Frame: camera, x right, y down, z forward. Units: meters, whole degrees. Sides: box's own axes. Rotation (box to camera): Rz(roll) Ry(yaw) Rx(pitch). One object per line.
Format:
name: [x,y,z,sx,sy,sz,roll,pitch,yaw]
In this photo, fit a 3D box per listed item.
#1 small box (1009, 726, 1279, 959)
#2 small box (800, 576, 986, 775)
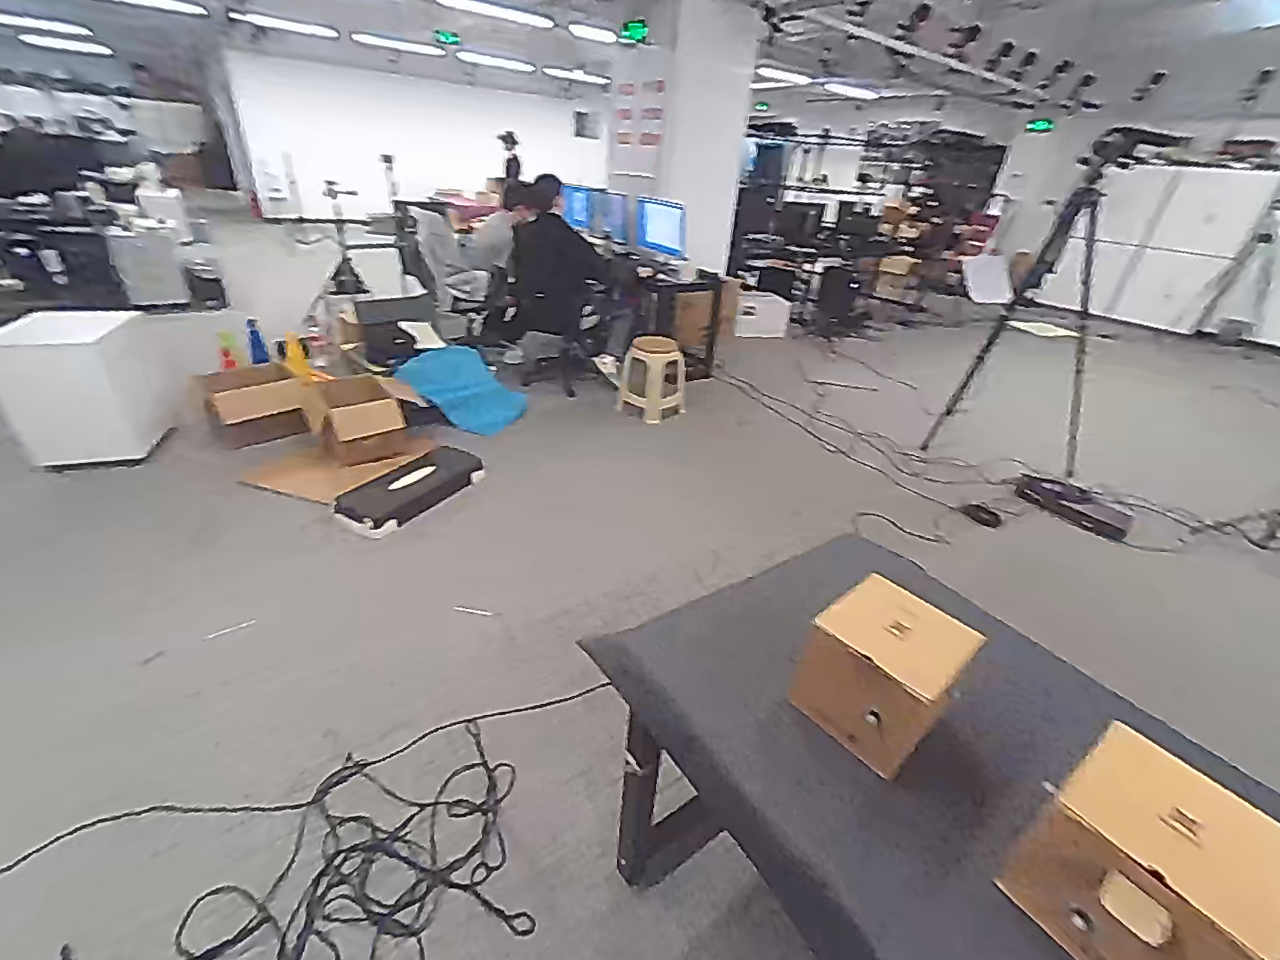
small box: [0.536,0.411,0.571,0.179,0.176,0.168,-17,37,-32]
small box: [0.351,0.276,0.778,0.179,0.176,0.168,-20,39,-37]
